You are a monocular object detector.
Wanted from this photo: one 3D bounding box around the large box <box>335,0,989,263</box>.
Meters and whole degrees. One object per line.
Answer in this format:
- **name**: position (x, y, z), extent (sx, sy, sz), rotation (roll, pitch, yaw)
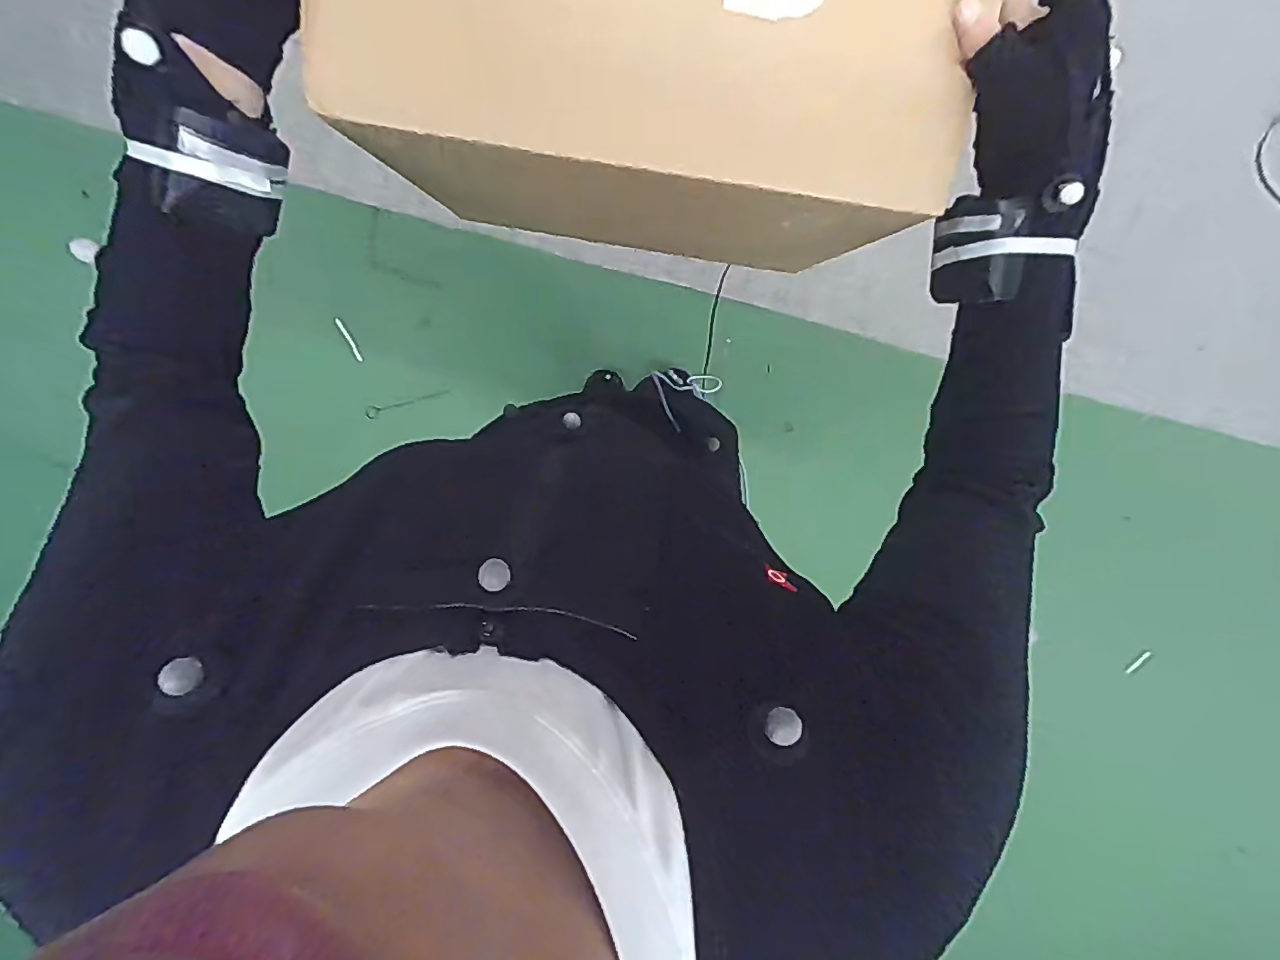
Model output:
- **large box**: position (0.020, -0.391, 0.459), extent (0.408, 0.320, 0.320), rotation (8, 105, -3)
